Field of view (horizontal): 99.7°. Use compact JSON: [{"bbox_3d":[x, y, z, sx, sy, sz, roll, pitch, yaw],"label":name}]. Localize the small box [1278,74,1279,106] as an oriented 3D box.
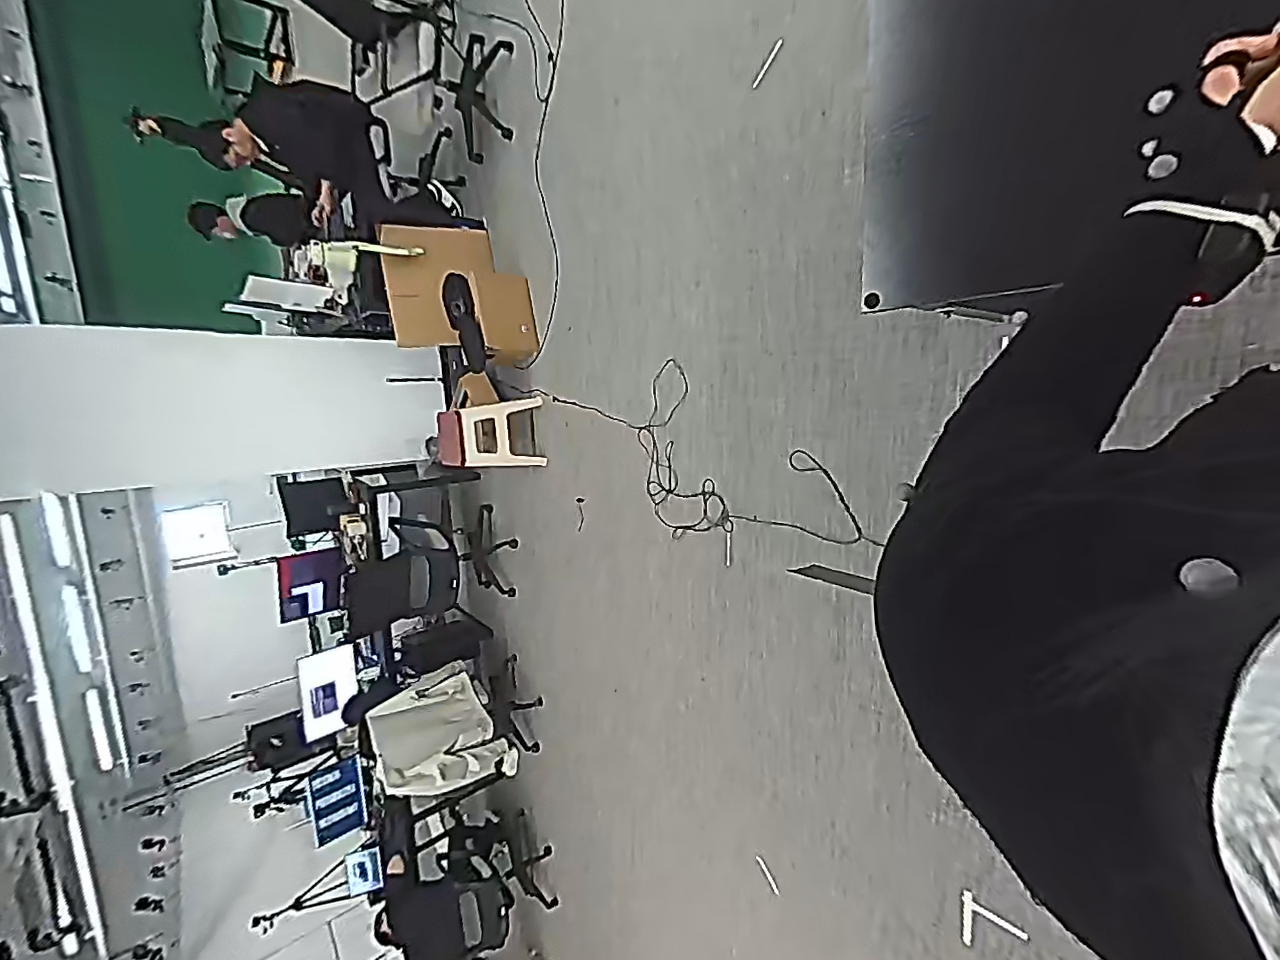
[{"bbox_3d":[0.584,-0.365,0.365,0.179,0.176,0.168,14,108,49],"label":"small box"}]
